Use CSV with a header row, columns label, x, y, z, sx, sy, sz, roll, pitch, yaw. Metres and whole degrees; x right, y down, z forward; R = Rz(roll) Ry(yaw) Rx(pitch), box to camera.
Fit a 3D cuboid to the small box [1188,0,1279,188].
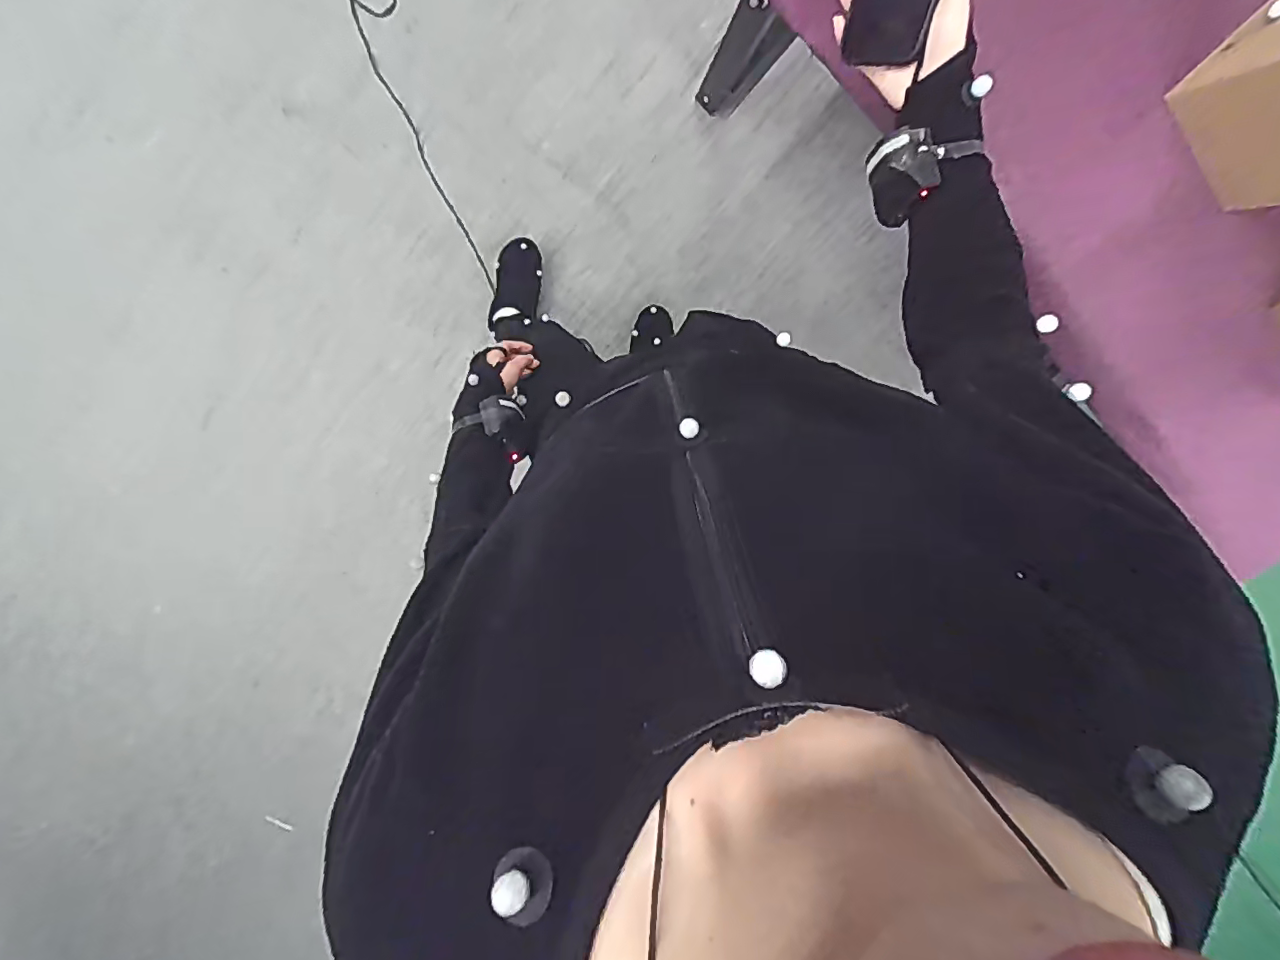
label,x,y,z,sx,sy,sz,roll,pitch,yaw
small box,0.740,-0.427,0.549,0.179,0.176,0.168,42,103,-15
